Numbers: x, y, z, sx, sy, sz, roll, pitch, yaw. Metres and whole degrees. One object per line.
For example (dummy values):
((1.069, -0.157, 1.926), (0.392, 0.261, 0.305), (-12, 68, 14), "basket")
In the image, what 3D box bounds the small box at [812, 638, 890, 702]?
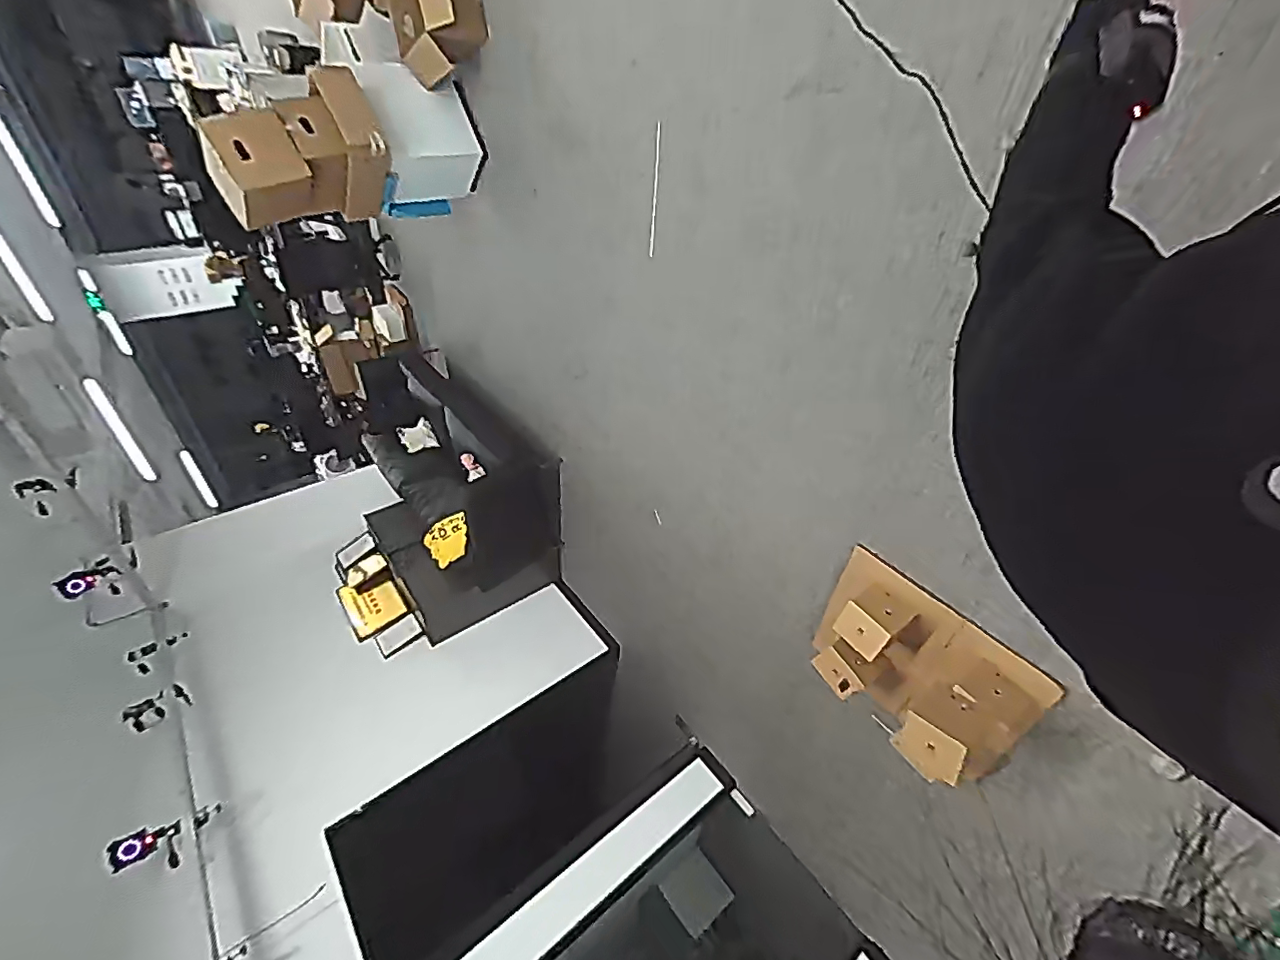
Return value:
((0.791, 0.687, 2.018), (0.179, 0.176, 0.168), (53, 147, 24), "small box")

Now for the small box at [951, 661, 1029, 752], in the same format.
((1.040, 0.687, 1.646), (0.168, 0.176, 0.179), (45, 143, 32), "small box")

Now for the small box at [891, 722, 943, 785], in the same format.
((1.004, 0.886, 1.836), (0.179, 0.176, 0.168), (45, 143, 31), "small box")

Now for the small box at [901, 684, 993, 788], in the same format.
((0.899, 0.741, 1.581), (0.168, 0.176, 0.179), (29, 133, 45), "small box")

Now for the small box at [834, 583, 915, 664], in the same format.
((0.810, 0.488, 1.858), (0.168, 0.176, 0.179), (44, 143, 33), "small box")
